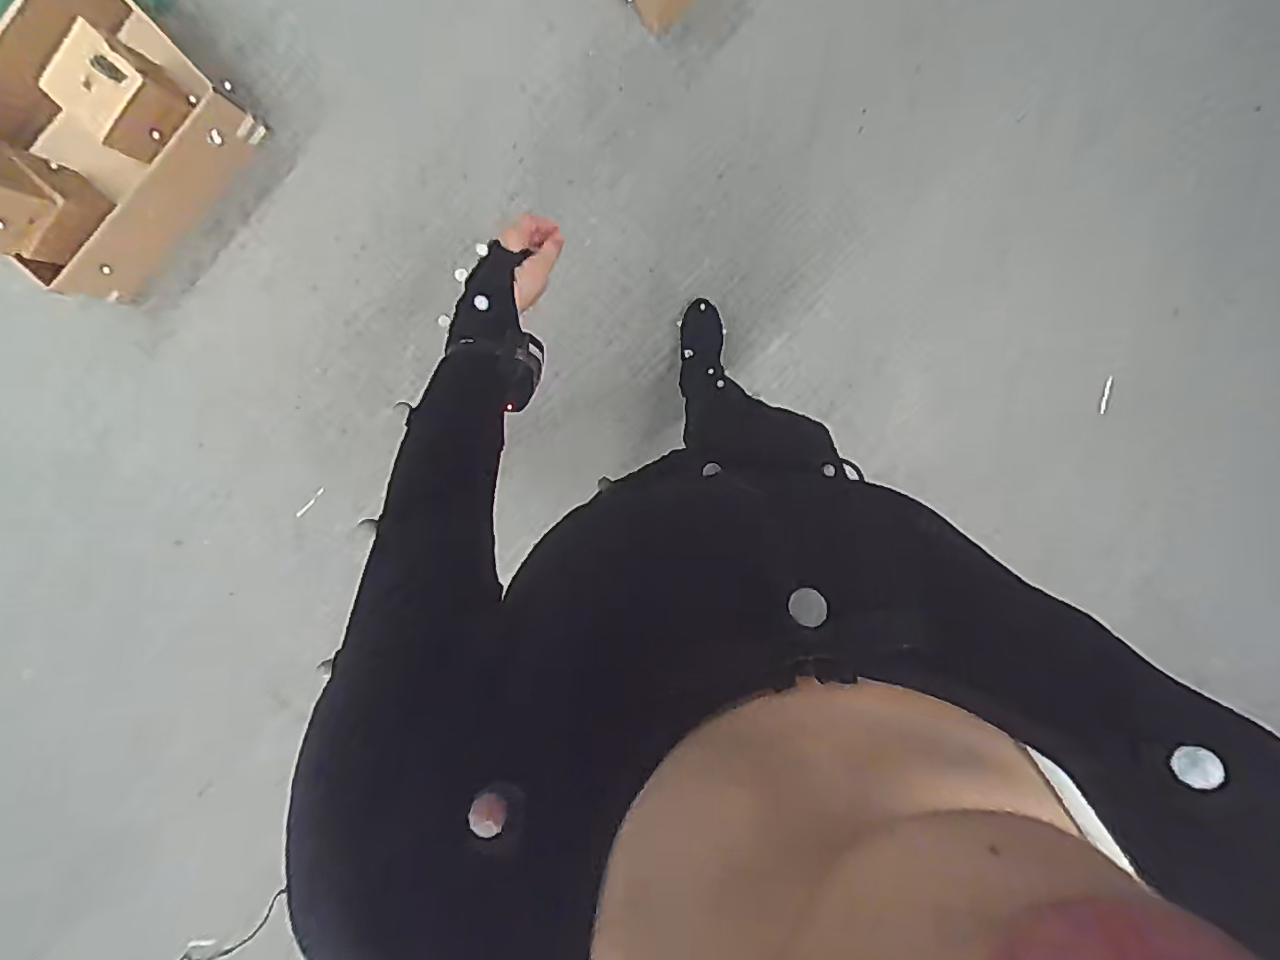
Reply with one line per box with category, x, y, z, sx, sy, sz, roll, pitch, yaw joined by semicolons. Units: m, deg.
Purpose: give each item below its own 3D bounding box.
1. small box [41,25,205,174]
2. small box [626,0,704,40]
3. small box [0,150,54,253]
small box;-1.128;-0.831;1.201;0.179;0.176;0.168;-43;97;8
small box;0.058;-1.135;1.181;0.179;0.176;0.168;-39;96;7
small box;-1.364;-0.581;1.082;0.168;0.176;0.179;-41;98;7
